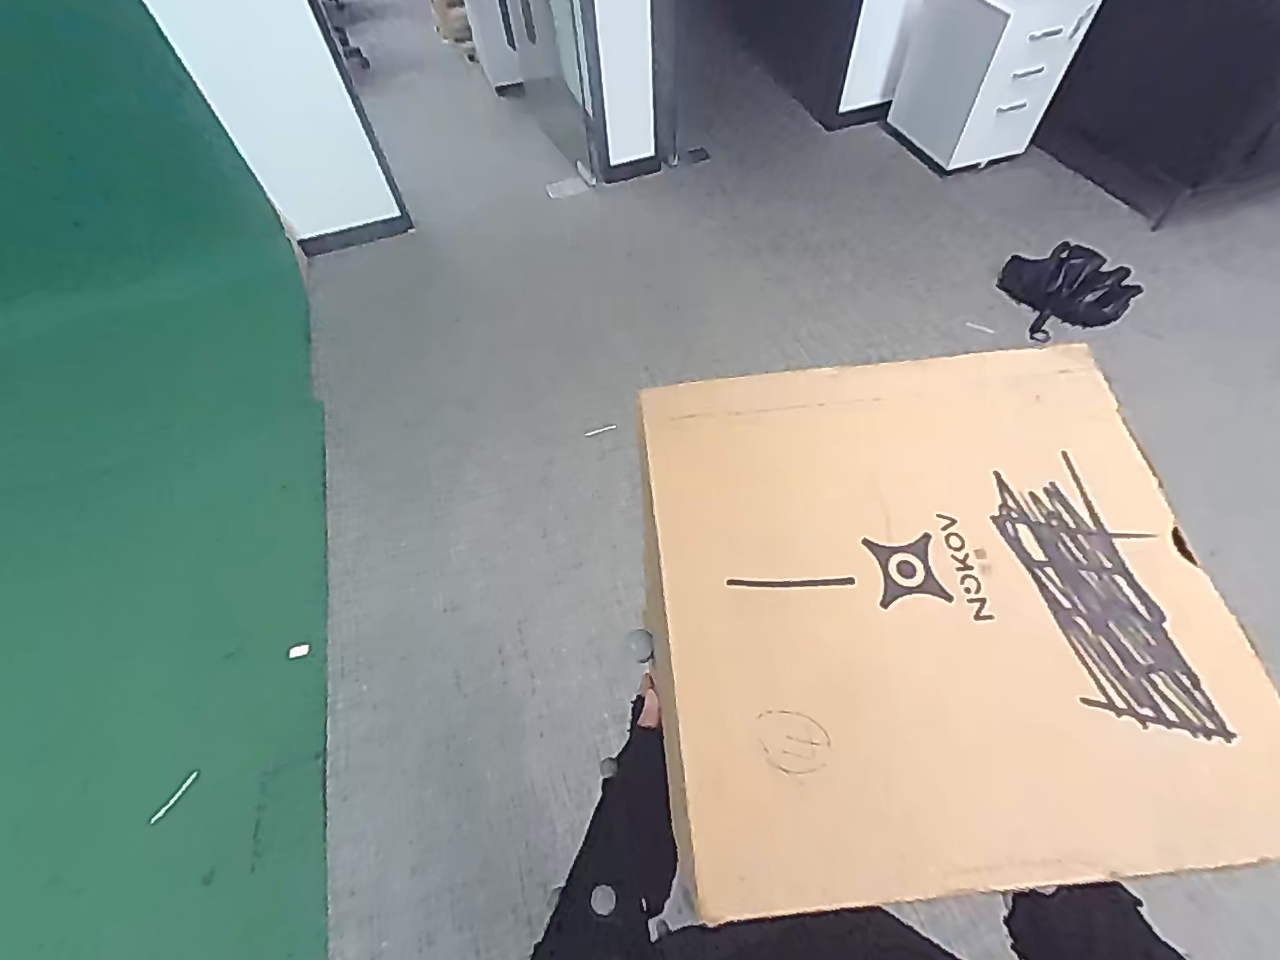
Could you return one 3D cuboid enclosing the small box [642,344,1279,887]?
[{"bbox_3d":[0.098,0.061,0.256,0.179,0.176,0.168,-8,63,-4],"label":"small box"}]
